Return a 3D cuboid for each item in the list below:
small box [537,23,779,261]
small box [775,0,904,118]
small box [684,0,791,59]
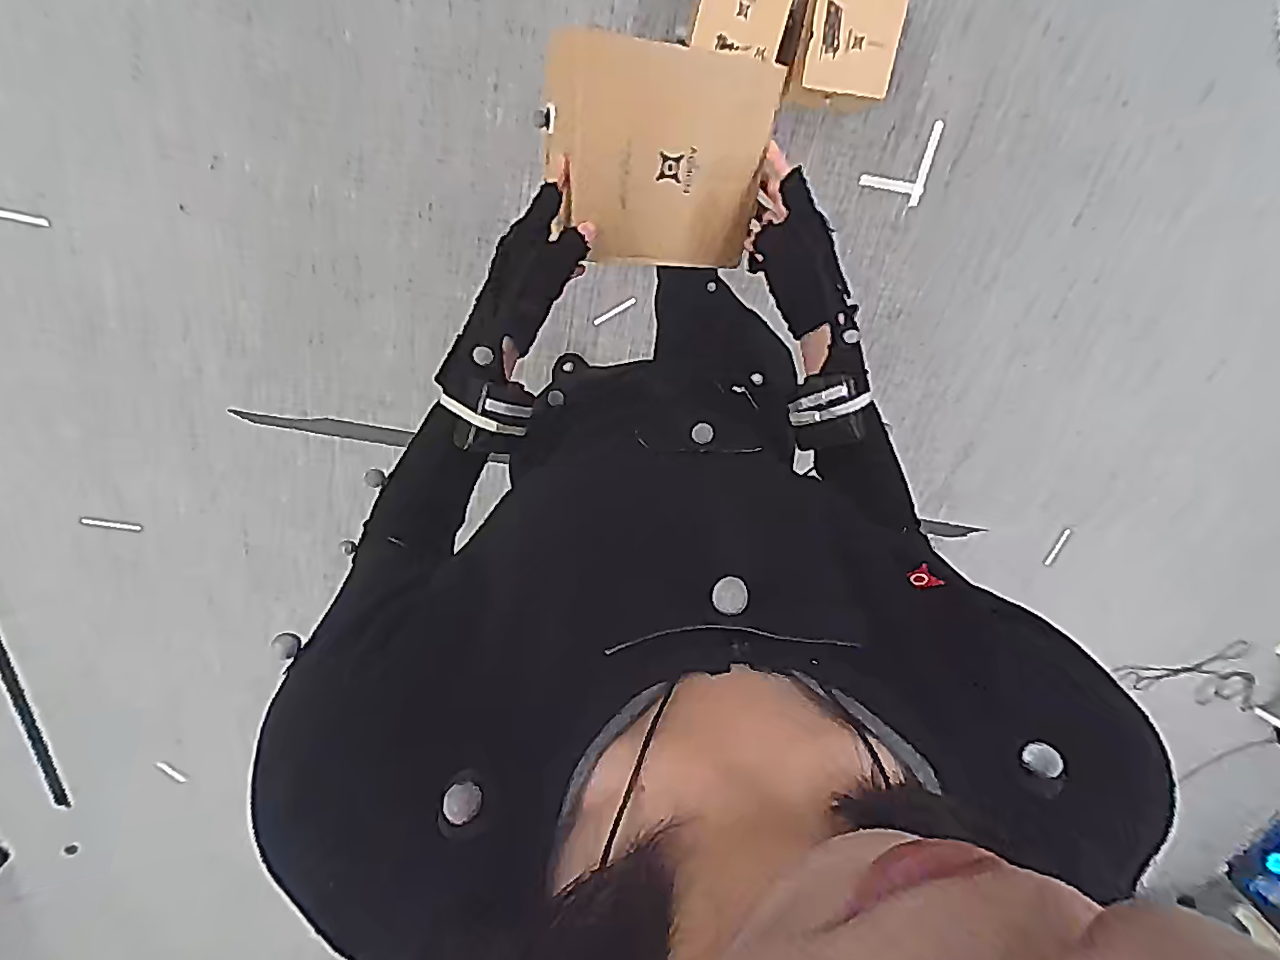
[{"bbox_3d":[0.001,-0.325,0.526,0.179,0.176,0.168,-5,128,-17],"label":"small box"},{"bbox_3d":[0.391,-0.853,1.098,0.179,0.176,0.168,4,116,-7],"label":"small box"},{"bbox_3d":[0.182,-0.894,1.066,0.168,0.176,0.179,13,114,-9],"label":"small box"}]
